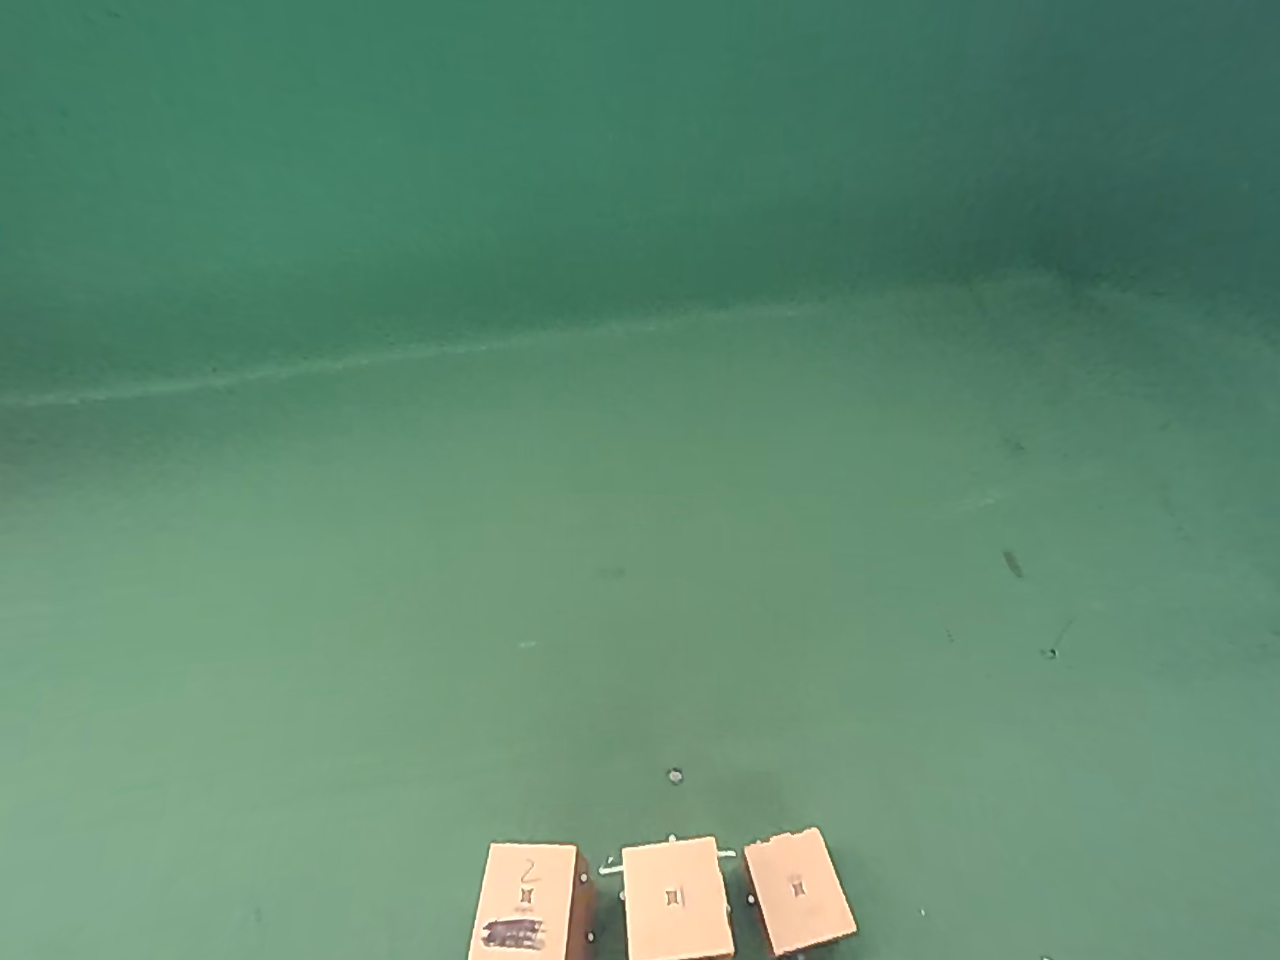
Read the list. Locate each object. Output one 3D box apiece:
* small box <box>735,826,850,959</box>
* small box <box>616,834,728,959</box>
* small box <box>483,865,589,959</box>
[{"bbox_3d":[0.301,0.852,1.116,0.168,0.176,0.179,-10,45,-6],"label":"small box"},{"bbox_3d":[0.055,0.770,0.984,0.179,0.176,0.168,-6,45,-2],"label":"small box"},{"bbox_3d":[-0.201,0.908,1.097,0.168,0.176,0.179,0,46,6],"label":"small box"}]
